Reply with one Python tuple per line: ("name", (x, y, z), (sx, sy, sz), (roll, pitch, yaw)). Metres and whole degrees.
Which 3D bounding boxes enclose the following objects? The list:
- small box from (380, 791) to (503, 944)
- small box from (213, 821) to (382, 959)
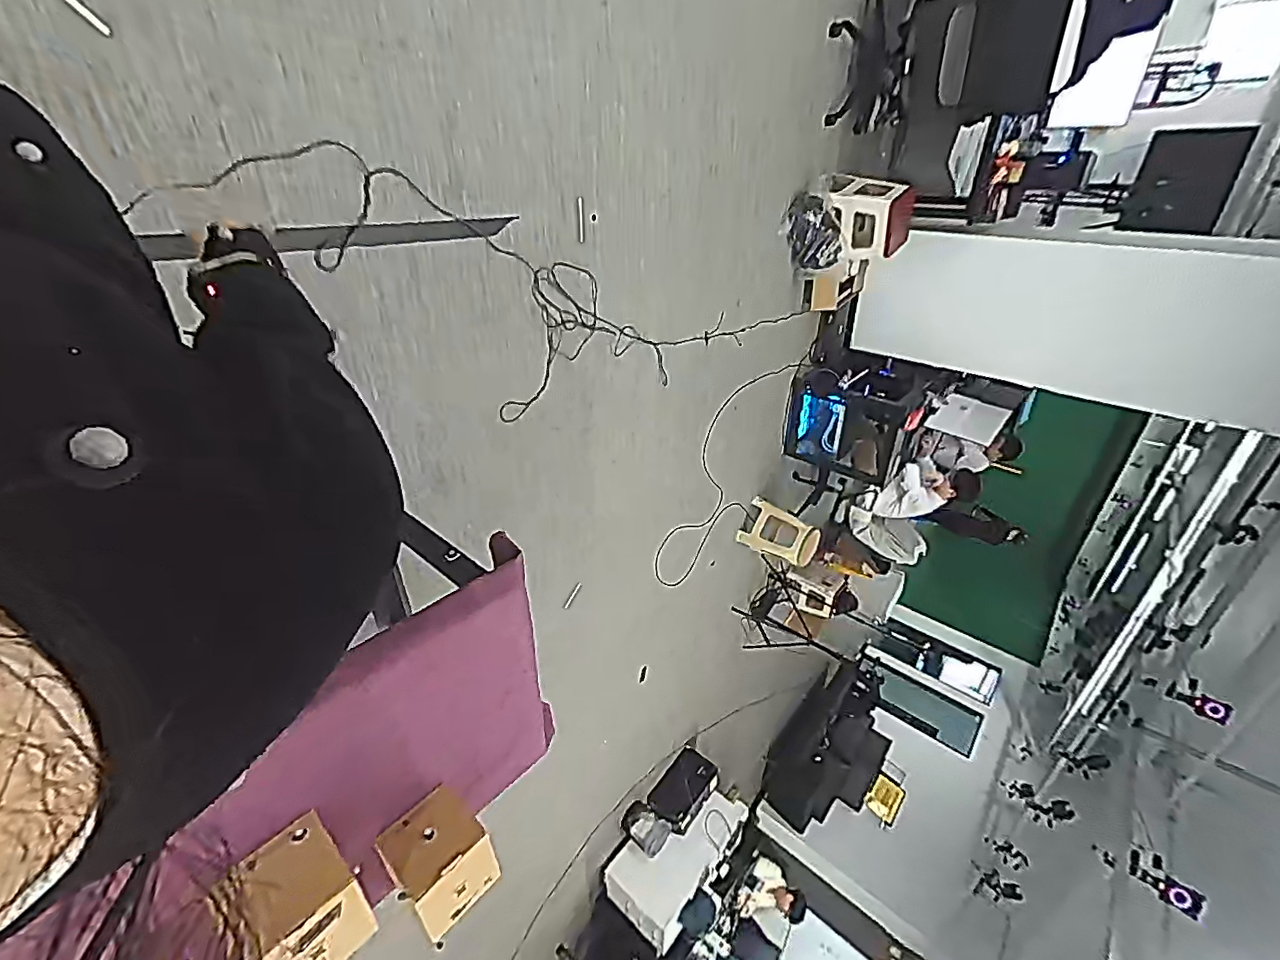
("small box", (-0.417, 0.796, 1.134), (0.168, 0.176, 0.179), (-30, 129, -40))
("small box", (-0.564, 0.713, 0.895), (0.168, 0.176, 0.179), (-29, 132, -41))
